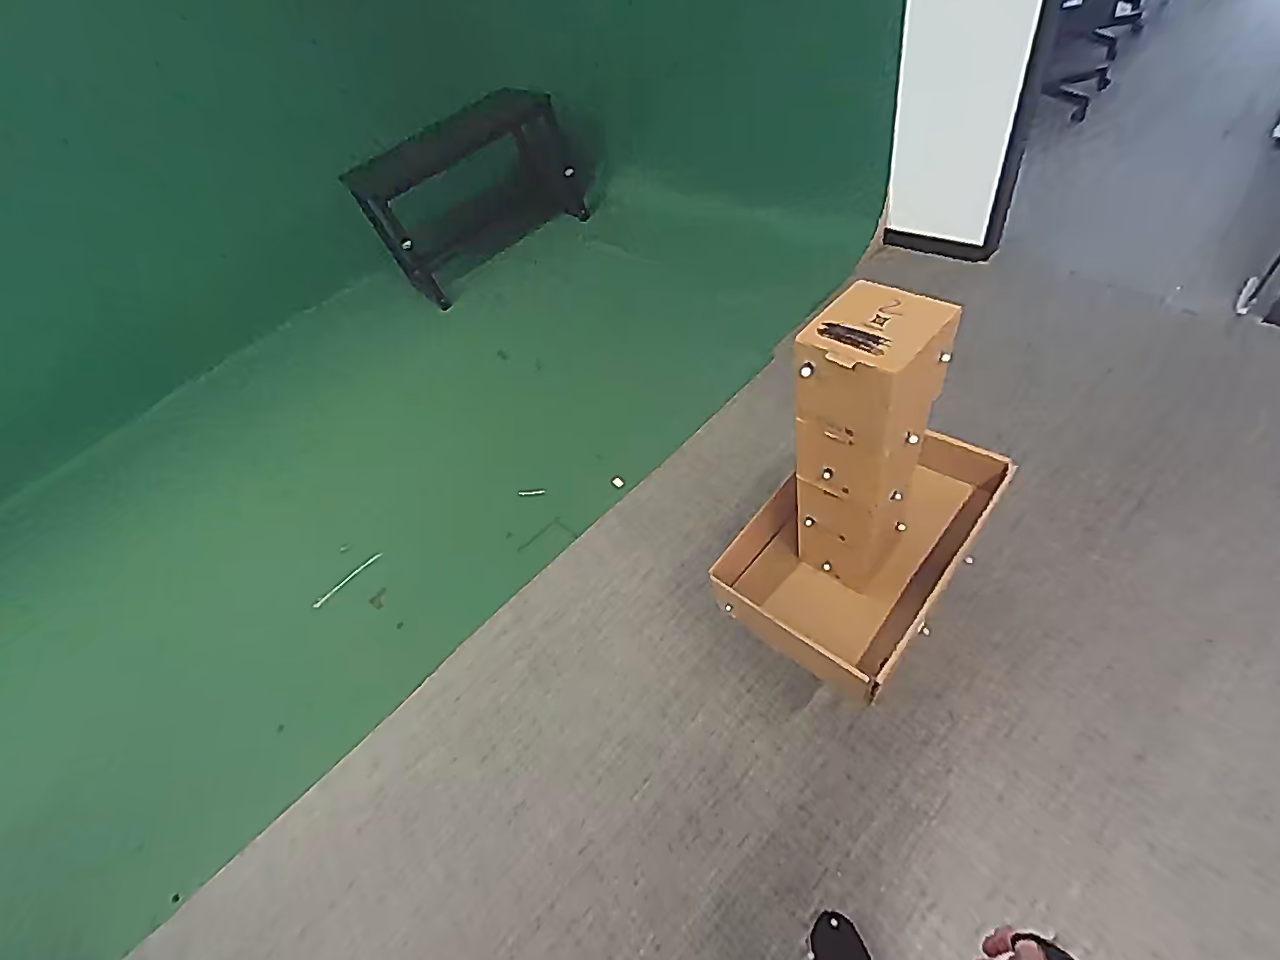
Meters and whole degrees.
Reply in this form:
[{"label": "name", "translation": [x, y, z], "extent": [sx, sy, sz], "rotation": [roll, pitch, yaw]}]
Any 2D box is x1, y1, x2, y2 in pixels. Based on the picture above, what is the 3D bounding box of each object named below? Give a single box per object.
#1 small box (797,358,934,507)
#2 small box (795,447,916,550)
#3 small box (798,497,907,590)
[{"label": "small box", "translation": [0.399, -0.086, 0.984], "extent": [0.168, 0.176, 0.179], "rotation": [28, 65, 33]}, {"label": "small box", "translation": [0.437, 0.011, 1.108], "extent": [0.168, 0.176, 0.179], "rotation": [29, 63, 34]}, {"label": "small box", "translation": [0.475, 0.113, 1.231], "extent": [0.168, 0.176, 0.179], "rotation": [31, 65, 35]}]
